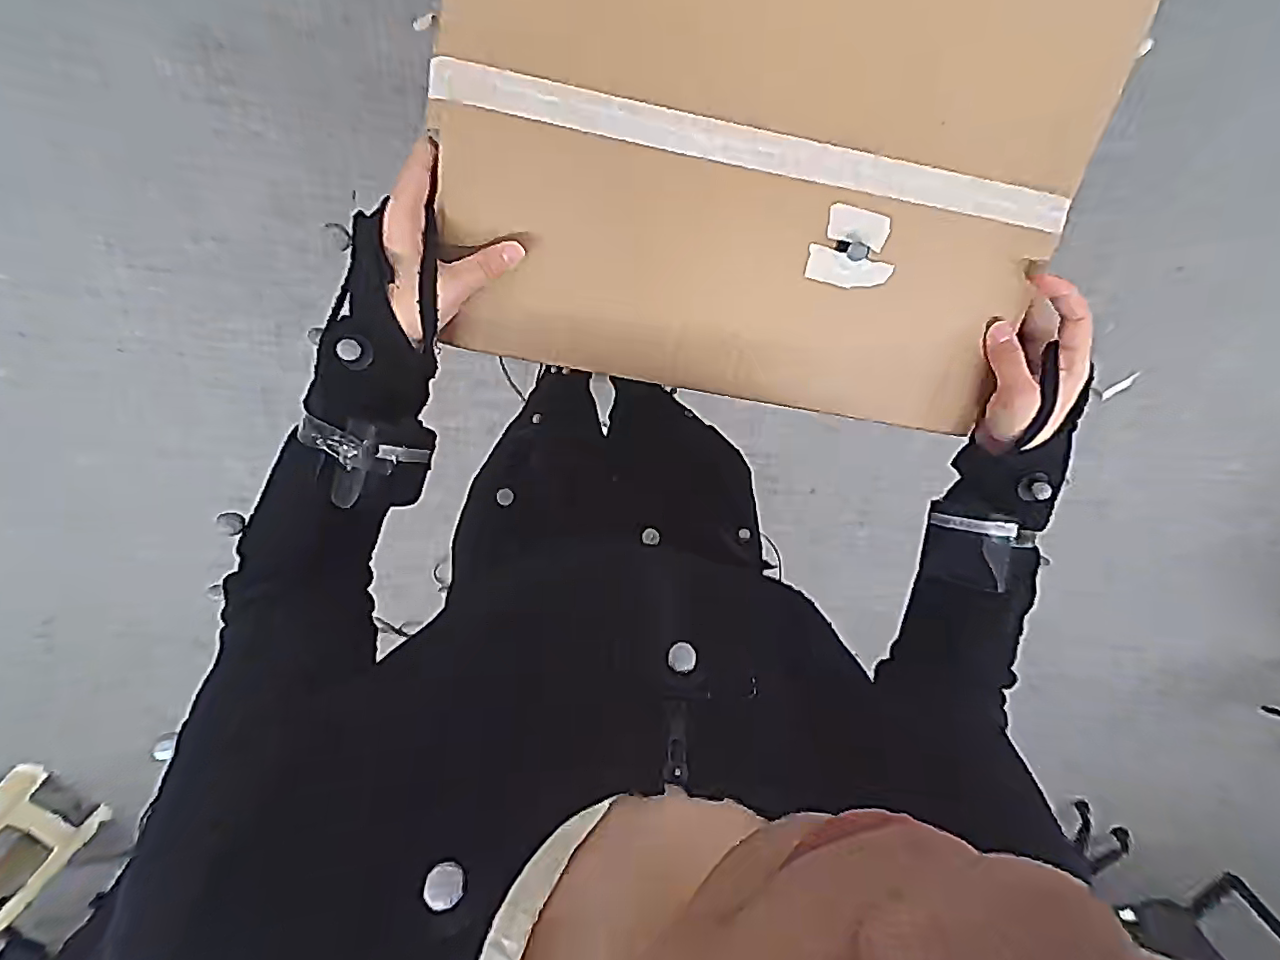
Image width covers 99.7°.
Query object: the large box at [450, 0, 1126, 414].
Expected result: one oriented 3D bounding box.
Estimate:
[{"bbox_3d":[0.074,-0.274,0.490,0.408,0.320,0.320,9,113,-7],"label":"large box"}]
